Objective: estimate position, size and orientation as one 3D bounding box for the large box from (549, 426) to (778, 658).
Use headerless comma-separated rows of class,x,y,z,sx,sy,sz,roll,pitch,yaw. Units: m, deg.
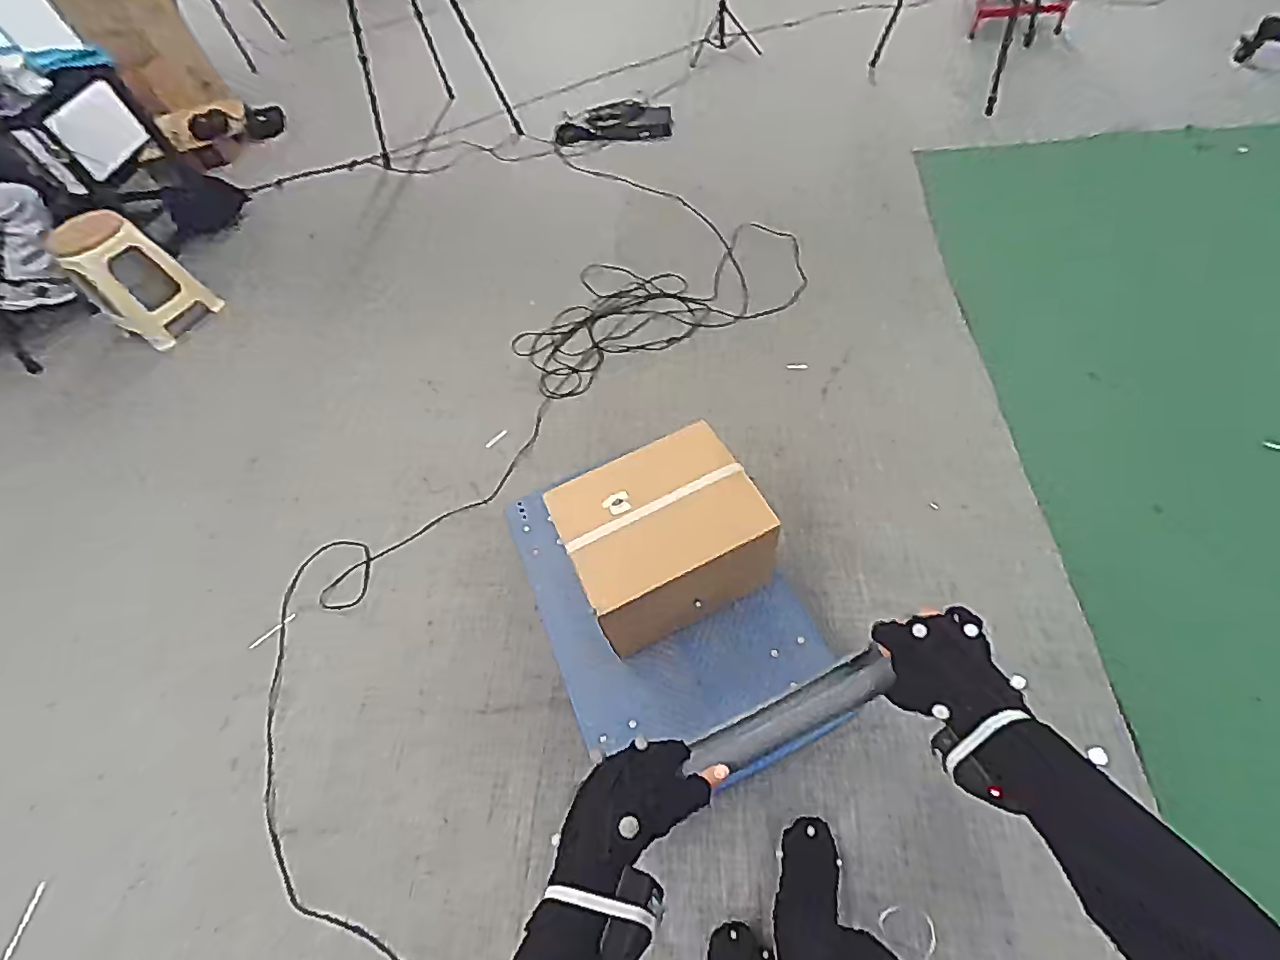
large box,0.061,0.150,1.255,0.408,0.320,0.320,-26,56,-7
